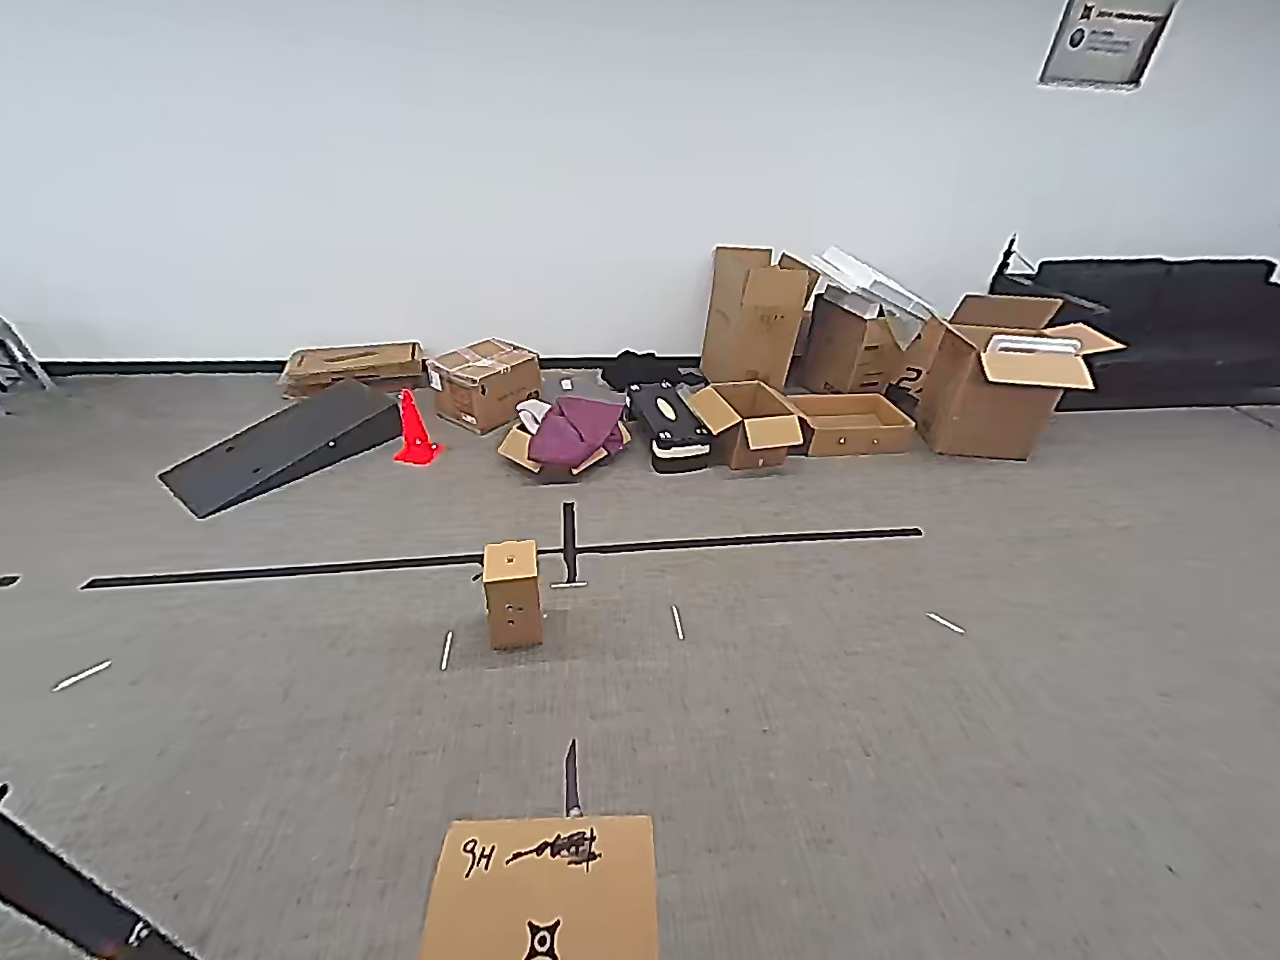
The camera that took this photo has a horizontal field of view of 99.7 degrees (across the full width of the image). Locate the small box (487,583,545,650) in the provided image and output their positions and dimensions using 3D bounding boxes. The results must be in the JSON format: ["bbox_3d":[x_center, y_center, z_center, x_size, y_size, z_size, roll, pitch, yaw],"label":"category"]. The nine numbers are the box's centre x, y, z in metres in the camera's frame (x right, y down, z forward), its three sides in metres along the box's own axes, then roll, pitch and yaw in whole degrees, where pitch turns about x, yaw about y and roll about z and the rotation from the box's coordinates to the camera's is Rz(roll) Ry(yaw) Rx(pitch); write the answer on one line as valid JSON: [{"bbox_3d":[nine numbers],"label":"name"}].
[{"bbox_3d":[-0.422,0.466,1.860,0.179,0.176,0.168,-3,35,-10],"label":"small box"}]

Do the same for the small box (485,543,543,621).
[{"bbox_3d":[-0.411,0.333,1.767,0.168,0.176,0.179,-6,36,-10],"label":"small box"}]

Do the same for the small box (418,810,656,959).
[{"bbox_3d":[-0.071,0.387,0.420,0.168,0.176,0.179,0,38,-3],"label":"small box"}]
